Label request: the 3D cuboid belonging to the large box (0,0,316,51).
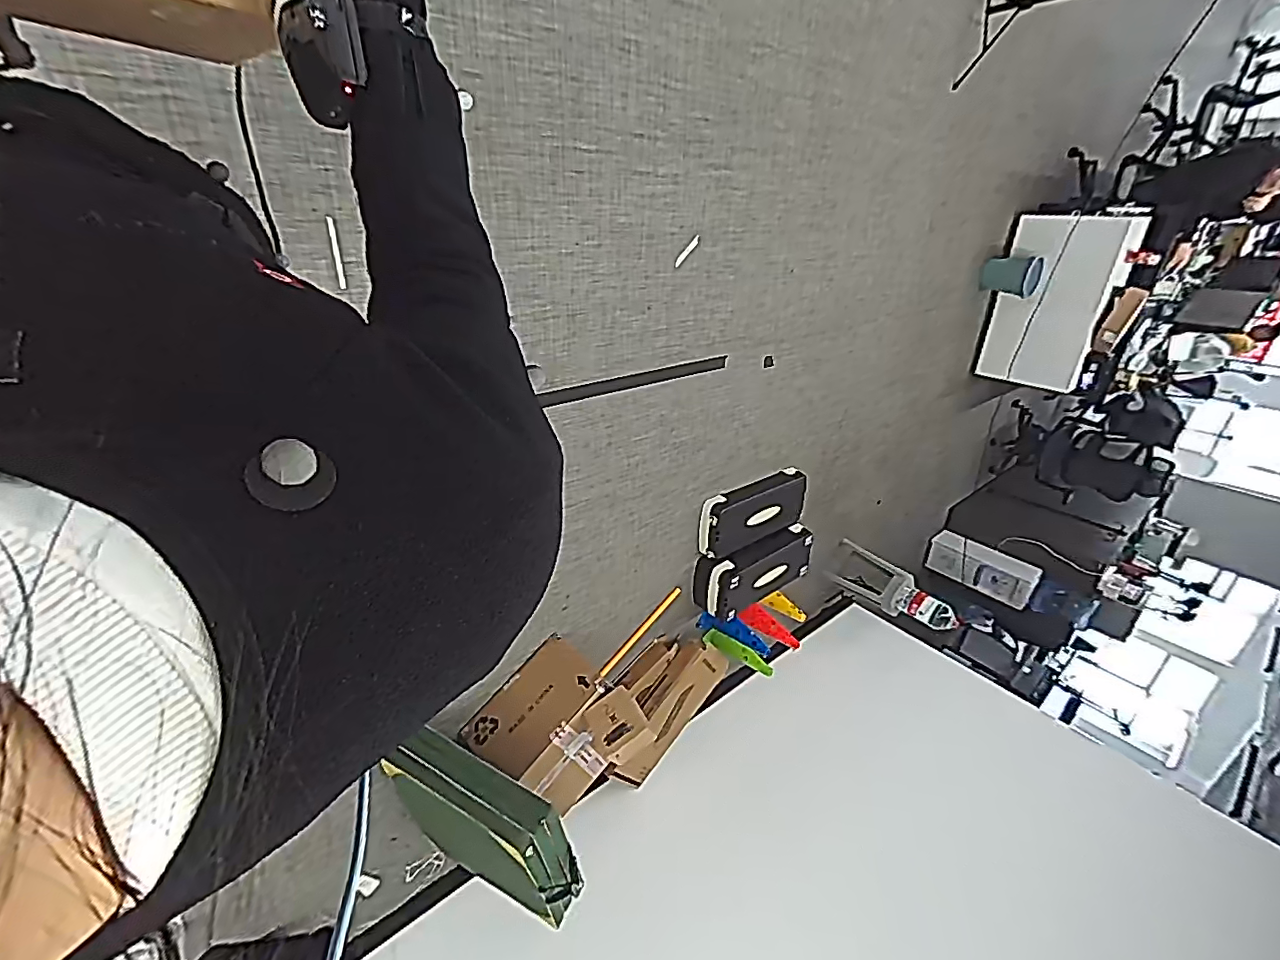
[{"bbox_3d":[-0.451,-0.462,0.267,0.408,0.320,0.320,-18,127,-40],"label":"large box"}]
